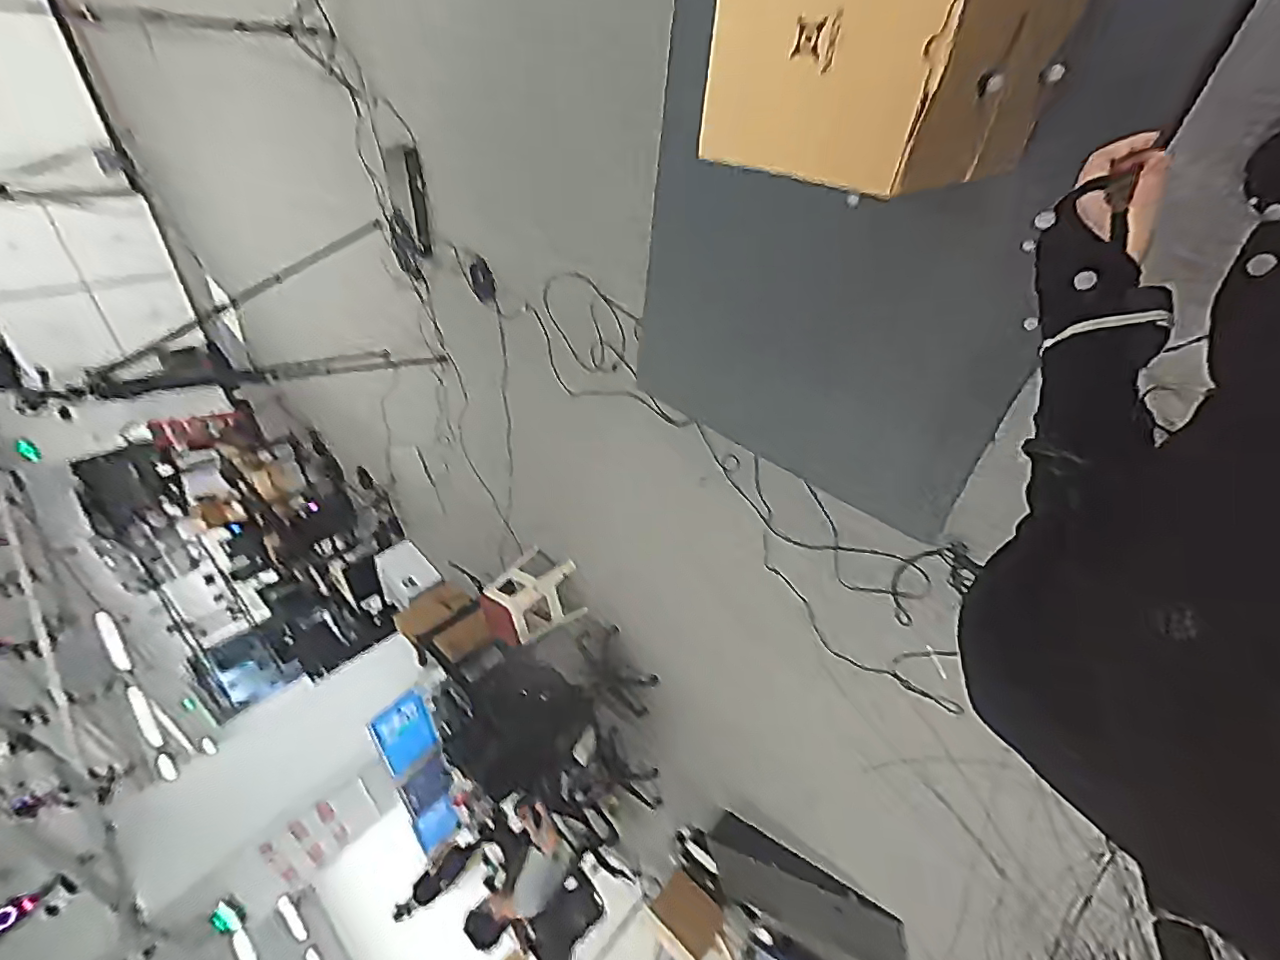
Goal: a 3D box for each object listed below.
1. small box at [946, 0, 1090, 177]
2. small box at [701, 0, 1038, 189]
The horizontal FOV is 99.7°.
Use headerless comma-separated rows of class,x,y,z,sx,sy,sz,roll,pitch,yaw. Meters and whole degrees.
small box,0.287,-0.402,0.521,0.179,0.176,0.168,32,135,31
small box,0.175,-0.337,0.422,0.179,0.176,0.168,32,134,31
